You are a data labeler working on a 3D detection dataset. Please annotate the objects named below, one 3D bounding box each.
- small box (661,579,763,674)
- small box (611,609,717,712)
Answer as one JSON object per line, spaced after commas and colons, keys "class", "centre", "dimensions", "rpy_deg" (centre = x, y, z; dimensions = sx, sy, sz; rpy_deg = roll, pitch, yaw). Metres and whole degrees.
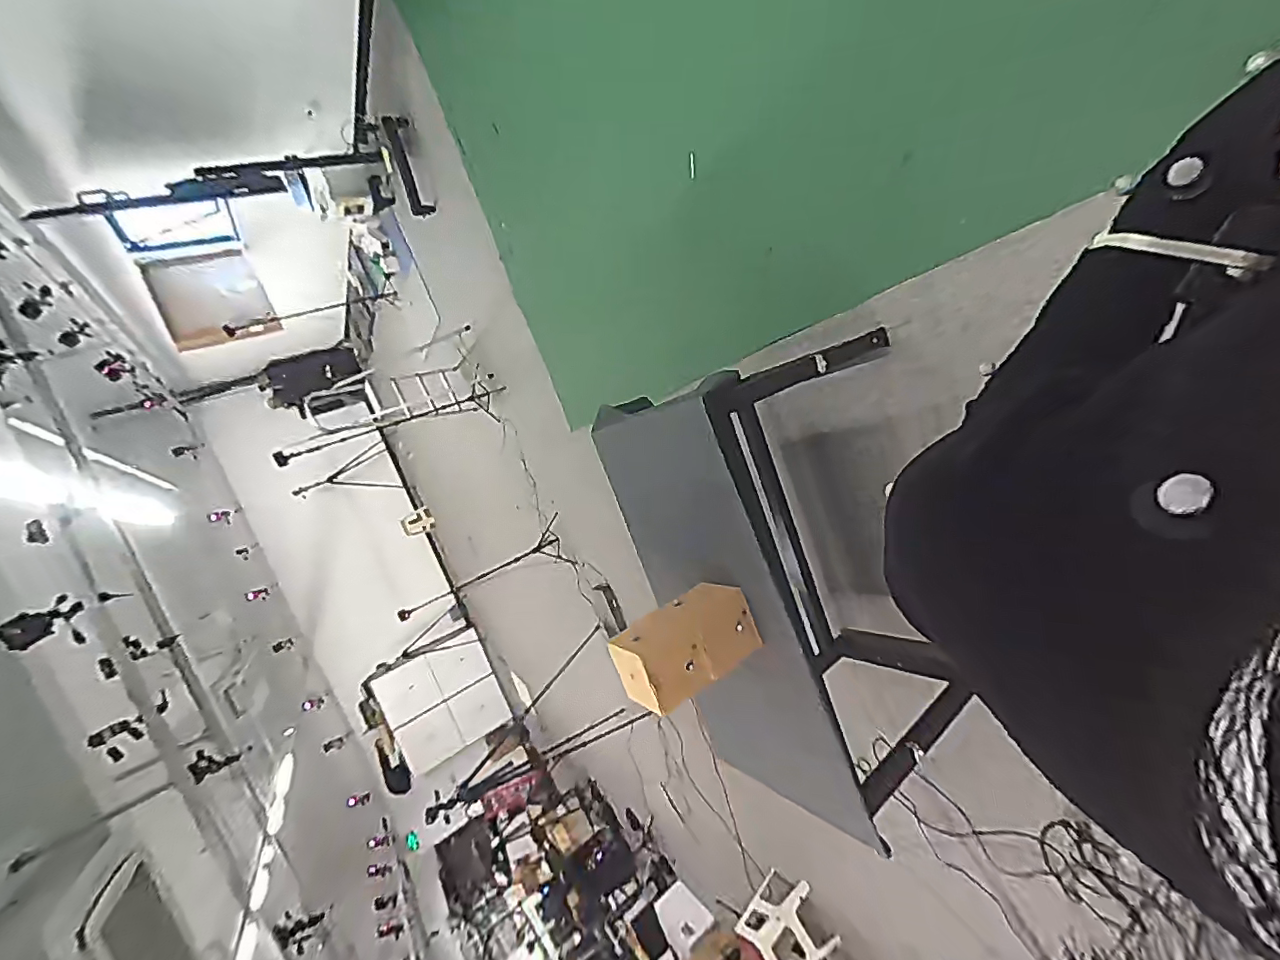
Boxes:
{"class": "small box", "centre": [0.190, 0.374, 1.419], "dimensions": [0.179, 0.176, 0.168], "rpy_deg": [-9, 105, 60]}
{"class": "small box", "centre": [0.060, 0.437, 1.347], "dimensions": [0.179, 0.176, 0.168], "rpy_deg": [-10, 104, 60]}
